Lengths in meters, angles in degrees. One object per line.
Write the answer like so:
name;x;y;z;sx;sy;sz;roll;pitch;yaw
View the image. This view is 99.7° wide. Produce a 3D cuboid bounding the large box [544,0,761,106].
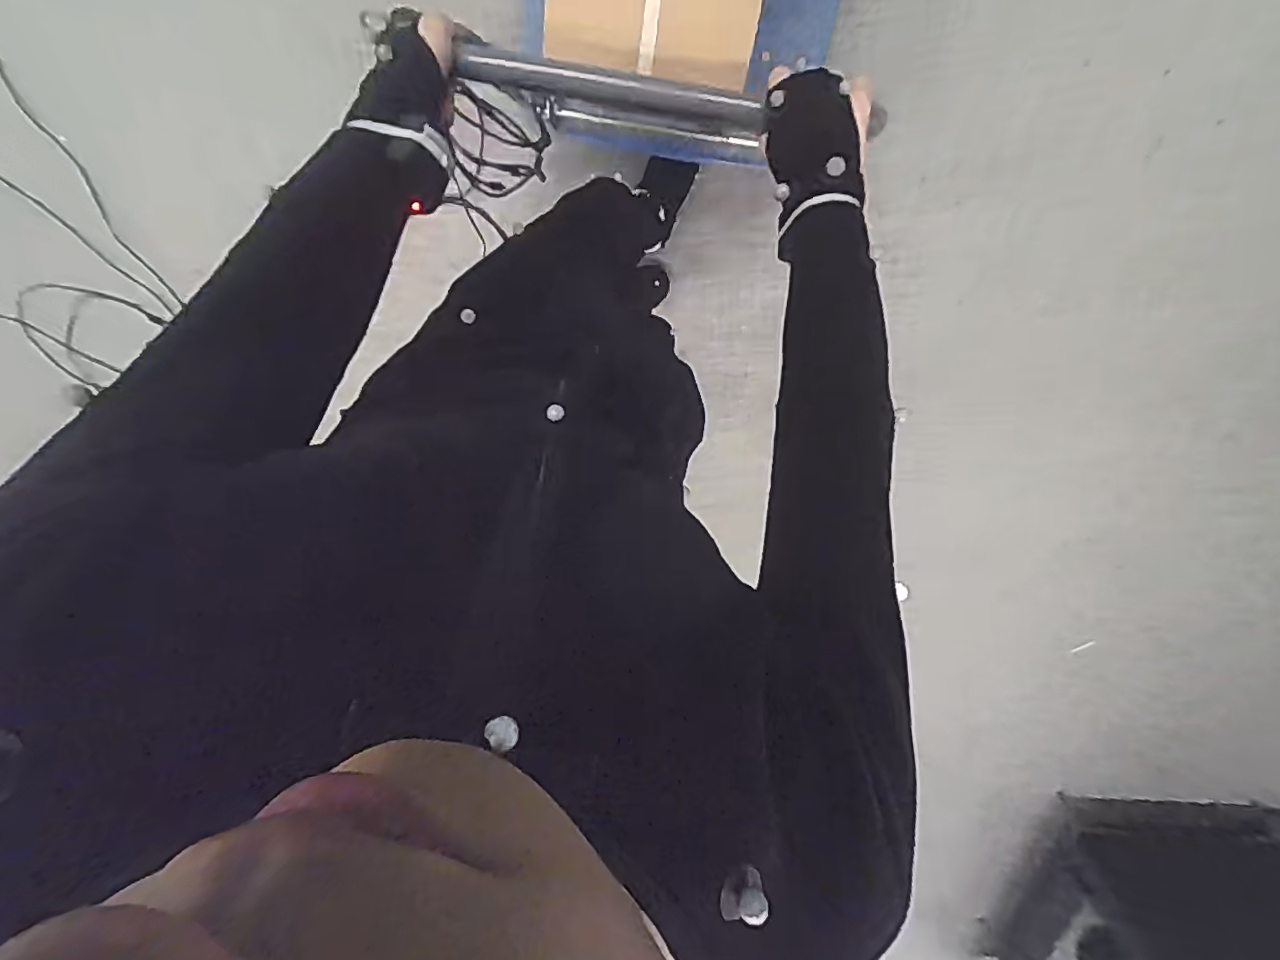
large box;0.043;-0.857;0.848;0.320;0.320;0.408;9;122;-2
